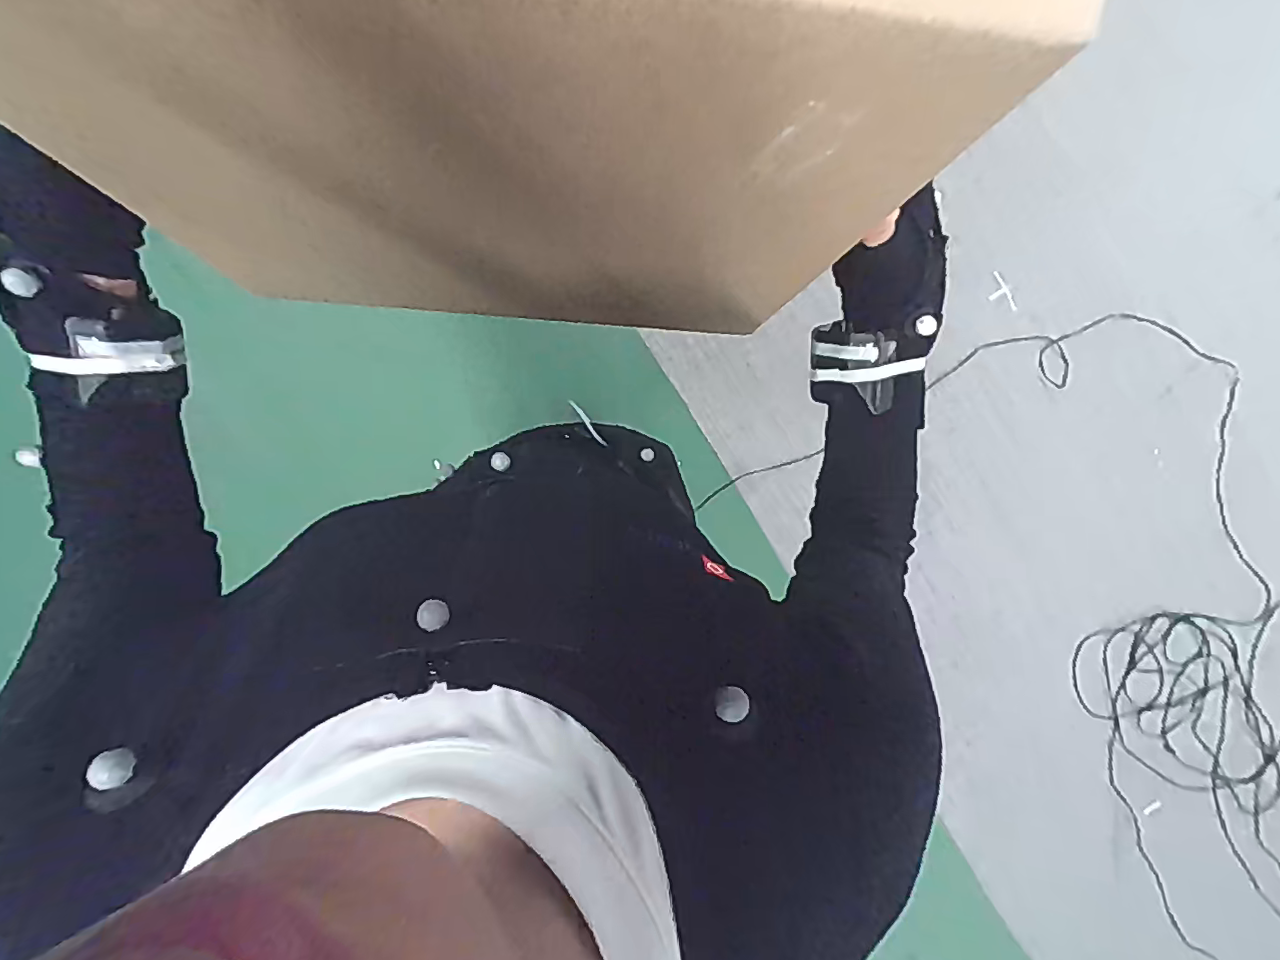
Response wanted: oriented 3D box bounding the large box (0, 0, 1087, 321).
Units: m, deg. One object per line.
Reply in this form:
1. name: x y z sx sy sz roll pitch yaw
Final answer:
1. large box: -0.062 -0.301 0.305 0.408 0.320 0.320 3 88 -10
